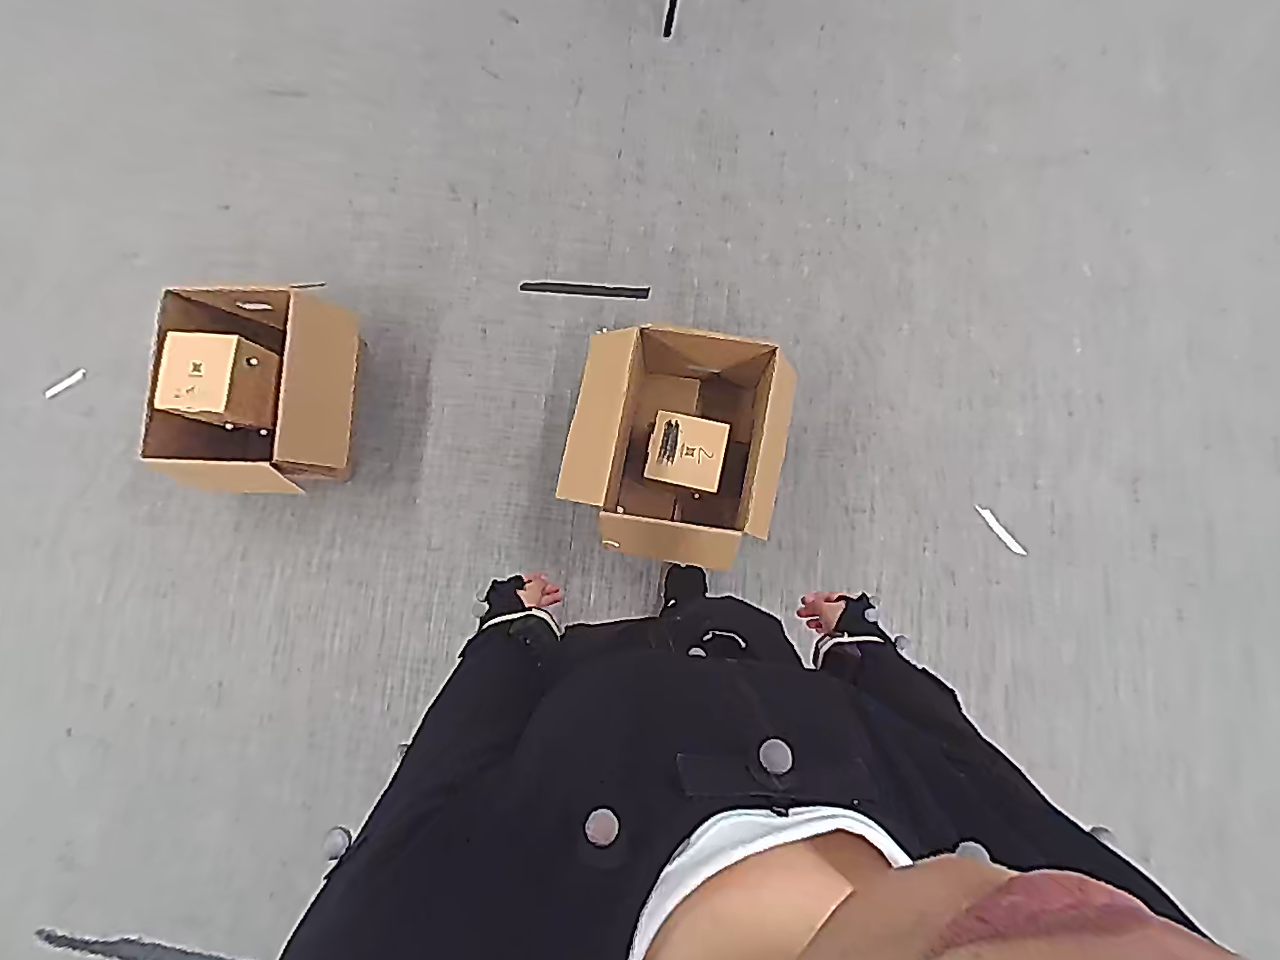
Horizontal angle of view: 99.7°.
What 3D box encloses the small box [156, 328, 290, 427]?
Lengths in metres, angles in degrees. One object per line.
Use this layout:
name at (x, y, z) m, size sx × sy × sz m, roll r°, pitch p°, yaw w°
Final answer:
small box at (-0.949, -0.231, 1.248) m, size 0.168 × 0.176 × 0.179 m, roll 4°, pitch 84°, yaw 5°
